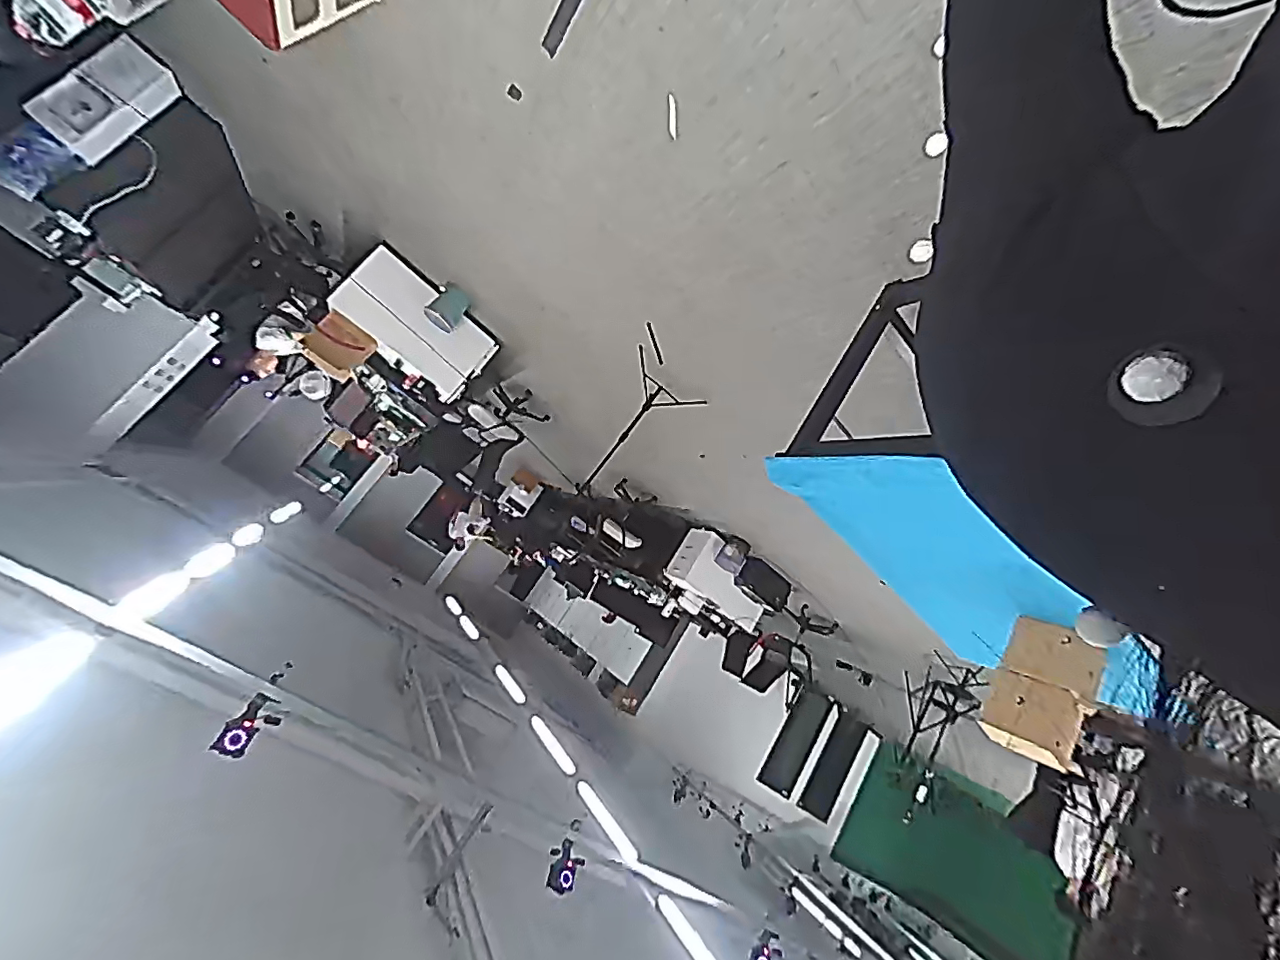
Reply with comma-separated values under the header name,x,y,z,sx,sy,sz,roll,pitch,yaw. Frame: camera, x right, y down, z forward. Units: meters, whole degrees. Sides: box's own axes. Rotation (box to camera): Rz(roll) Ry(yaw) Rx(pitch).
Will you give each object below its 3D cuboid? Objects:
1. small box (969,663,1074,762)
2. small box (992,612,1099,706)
name,x,y,z,sx,sy,sz,roll,pitch,yaw
small box,1.043,0.637,1.480,0.168,0.176,0.179,44,160,-31
small box,1.131,0.501,1.512,0.168,0.176,0.179,43,162,-27
